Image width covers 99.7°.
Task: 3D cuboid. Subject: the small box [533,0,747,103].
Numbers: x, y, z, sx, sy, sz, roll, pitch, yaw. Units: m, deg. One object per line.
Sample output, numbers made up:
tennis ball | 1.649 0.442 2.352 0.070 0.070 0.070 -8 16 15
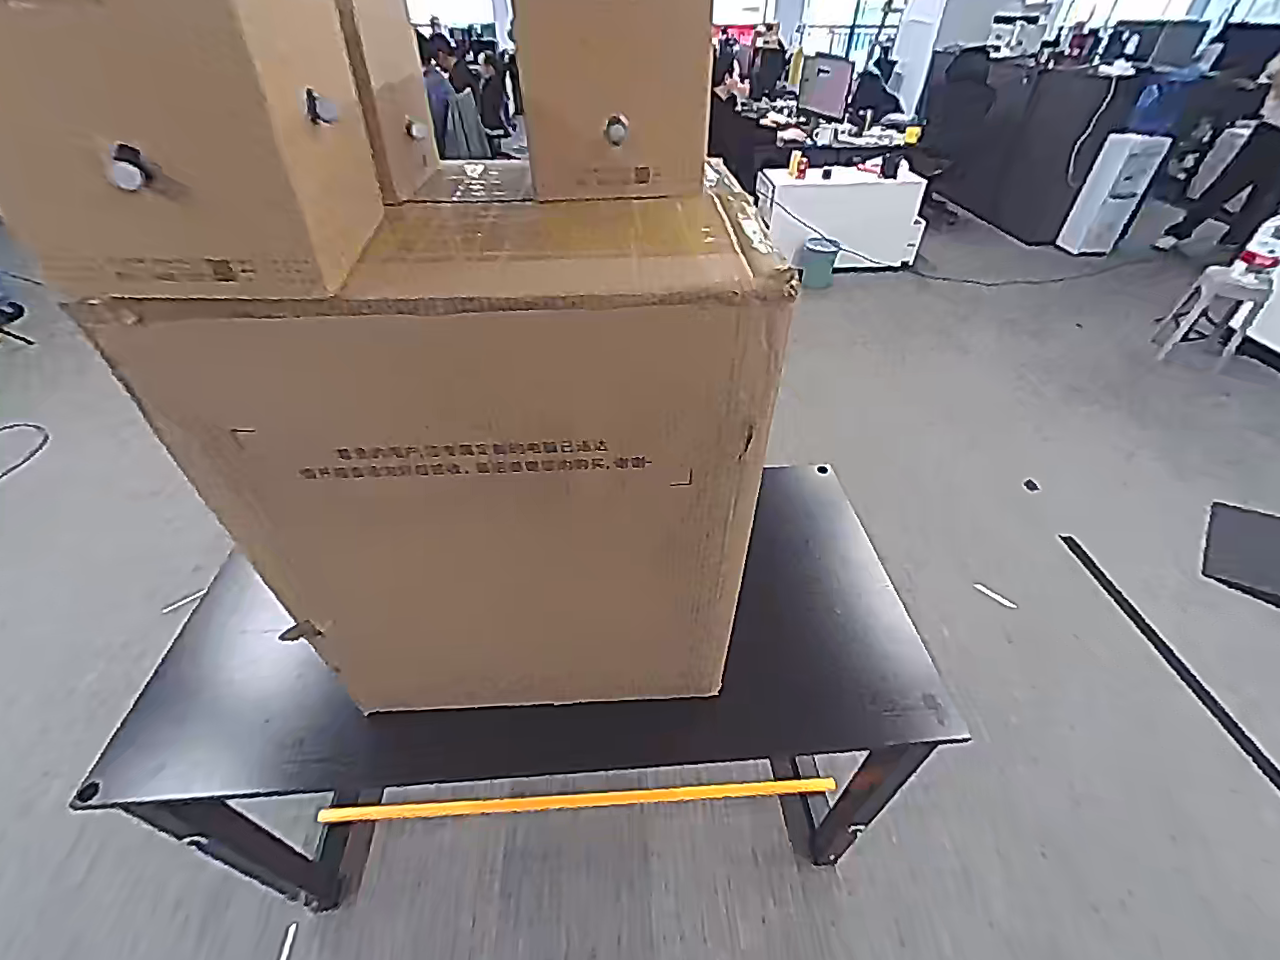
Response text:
small box | -0.005 -0.431 0.457 0.168 0.176 0.179 -4 40 -3

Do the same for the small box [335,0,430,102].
small box | -0.291 -0.412 0.433 0.179 0.176 0.168 0 41 -4

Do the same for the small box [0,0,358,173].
small box | -0.269 -0.276 0.281 0.168 0.176 0.179 -3 45 -9
